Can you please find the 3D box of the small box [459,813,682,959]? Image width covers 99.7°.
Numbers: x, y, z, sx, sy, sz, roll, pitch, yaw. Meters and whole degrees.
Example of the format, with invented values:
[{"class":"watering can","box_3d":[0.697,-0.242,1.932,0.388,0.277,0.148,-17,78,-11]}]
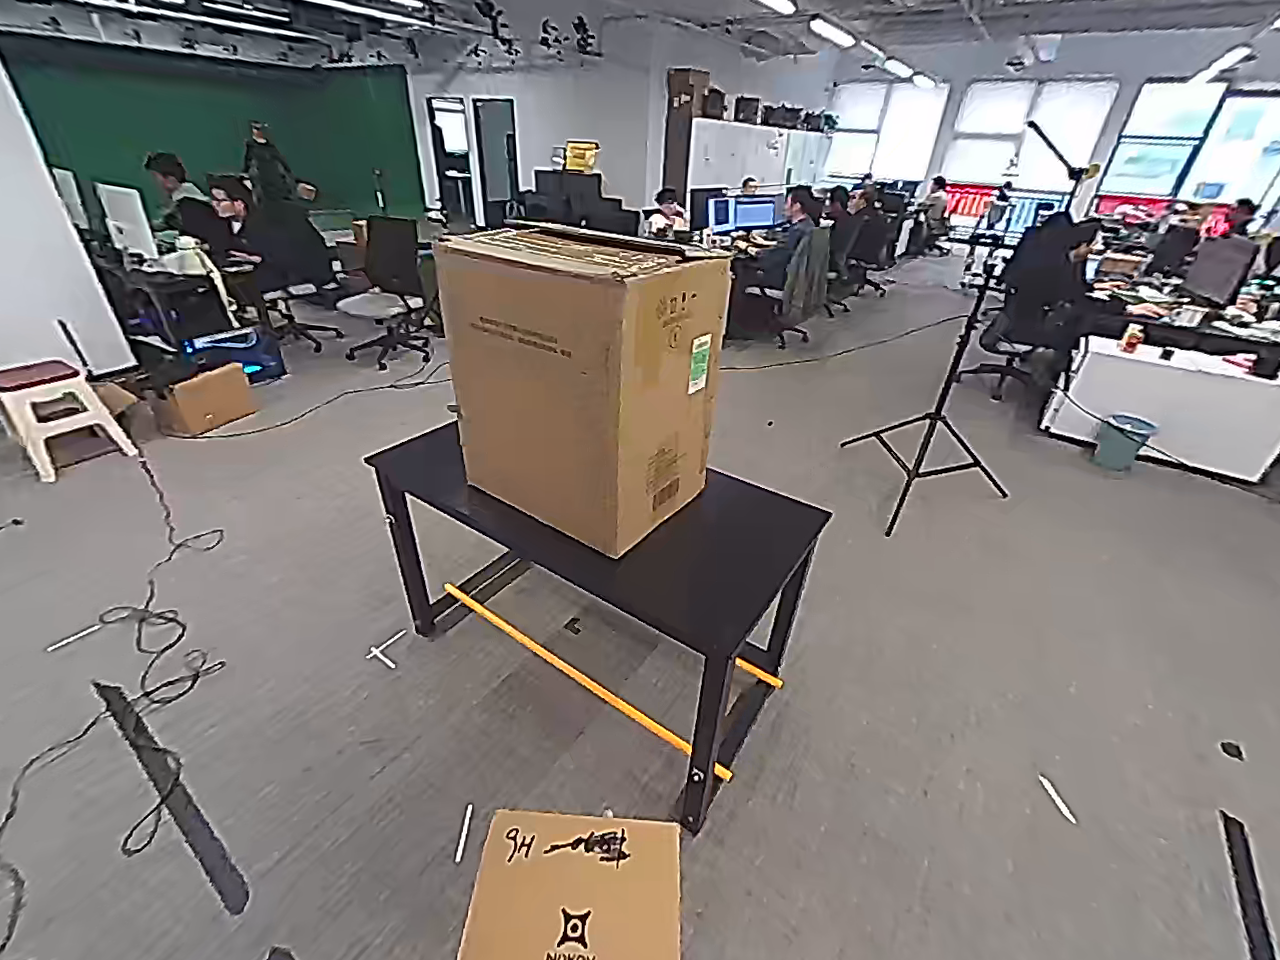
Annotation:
[{"class":"small box","box_3d":[-0.052,0.407,0.447,0.168,0.176,0.179,3,38,1]}]
